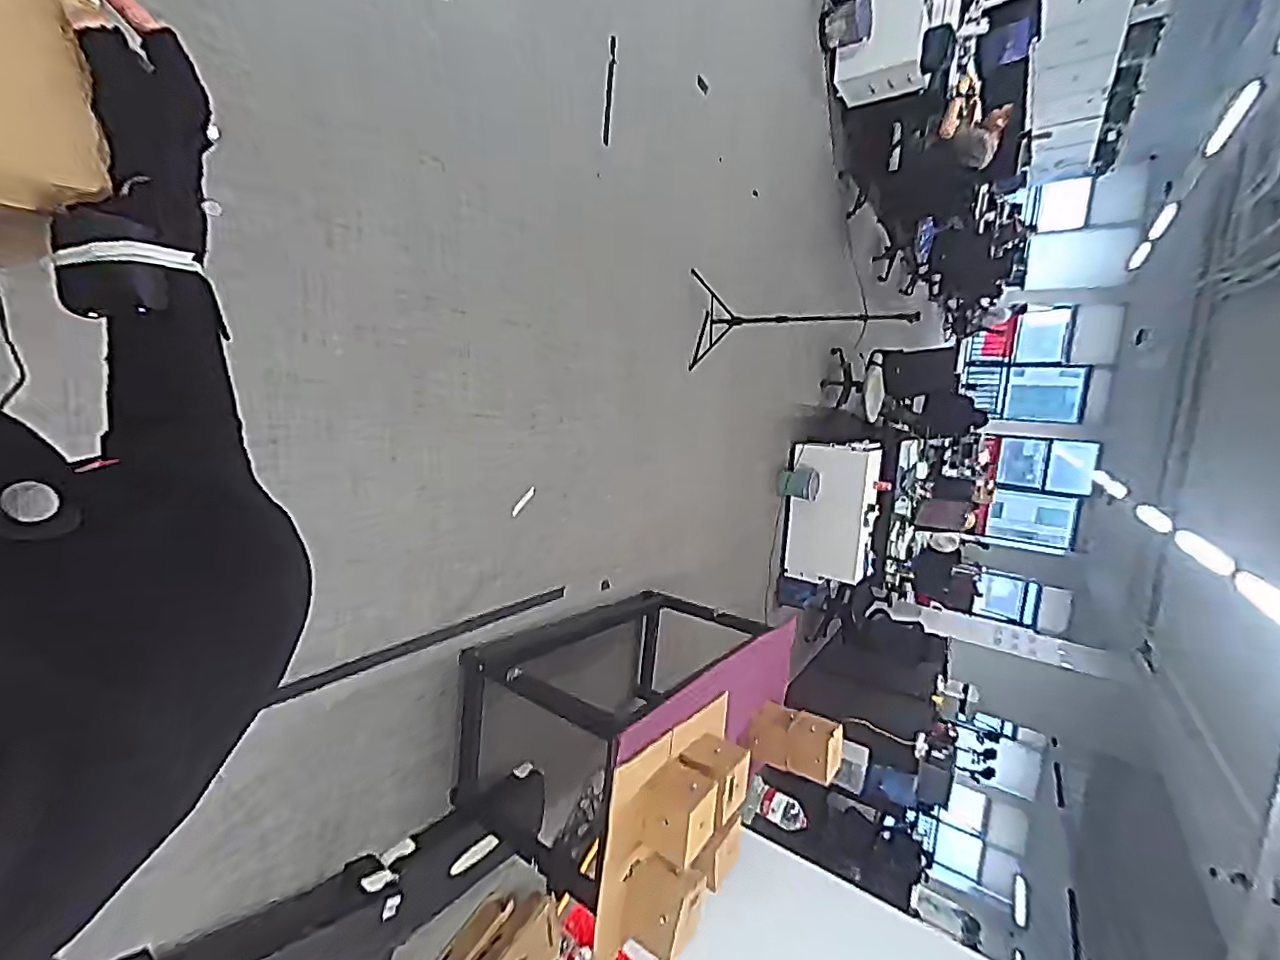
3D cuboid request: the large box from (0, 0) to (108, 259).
[{"bbox_3d":[-0.622,-0.336,0.290,0.408,0.320,0.320,-11,106,-57],"label":"large box"}]
